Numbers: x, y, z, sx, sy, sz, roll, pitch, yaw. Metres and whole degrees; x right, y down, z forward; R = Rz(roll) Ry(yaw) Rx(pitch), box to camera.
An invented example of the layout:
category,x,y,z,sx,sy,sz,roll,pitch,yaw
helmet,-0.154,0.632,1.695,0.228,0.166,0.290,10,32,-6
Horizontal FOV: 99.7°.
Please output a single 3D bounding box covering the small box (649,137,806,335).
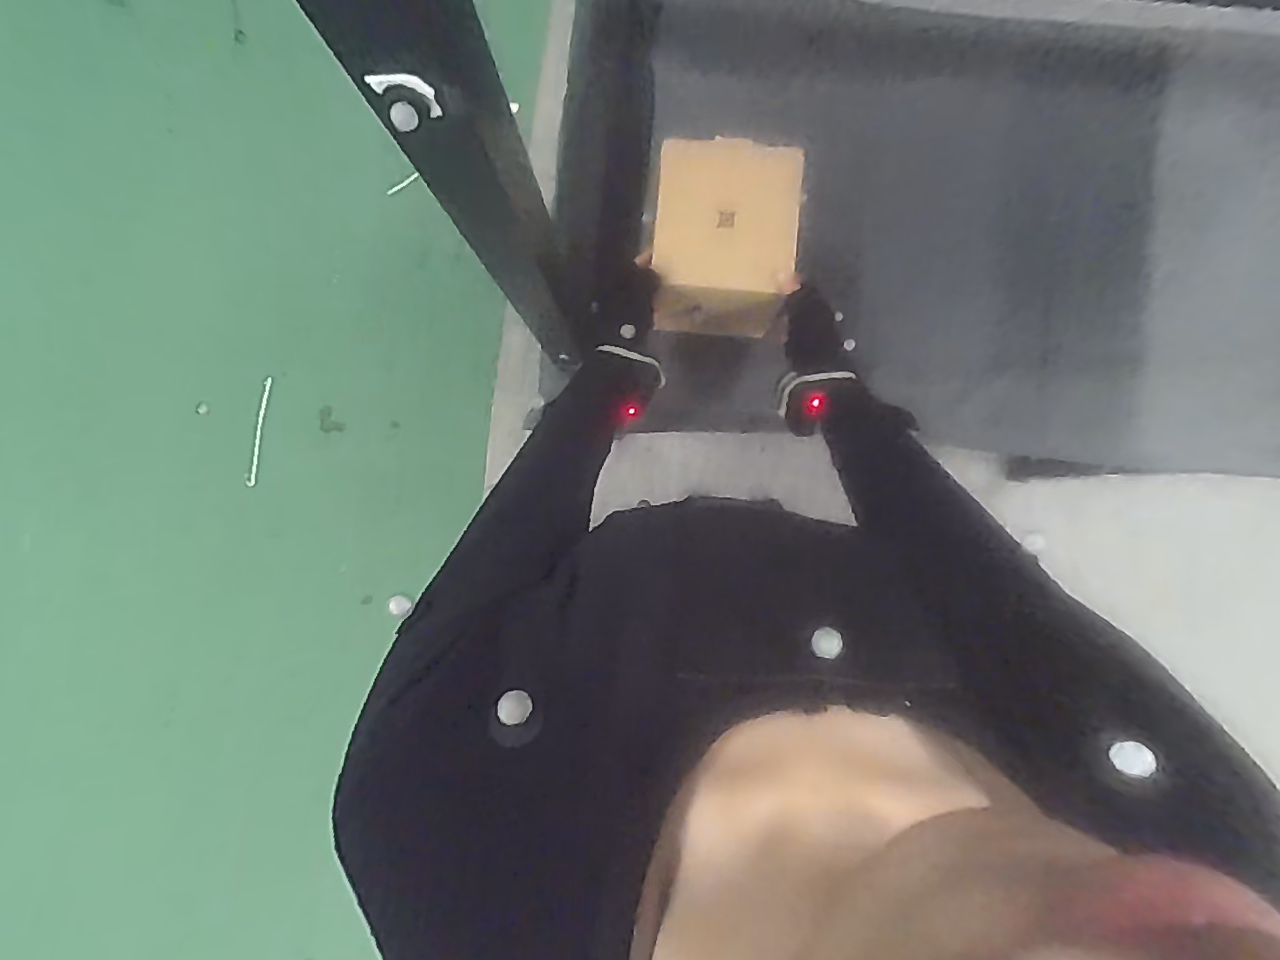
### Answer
category,x,y,z,sx,sy,sz,roll,pitch,yaw
small box,0.103,-0.299,0.696,0.168,0.176,0.179,5,87,1
